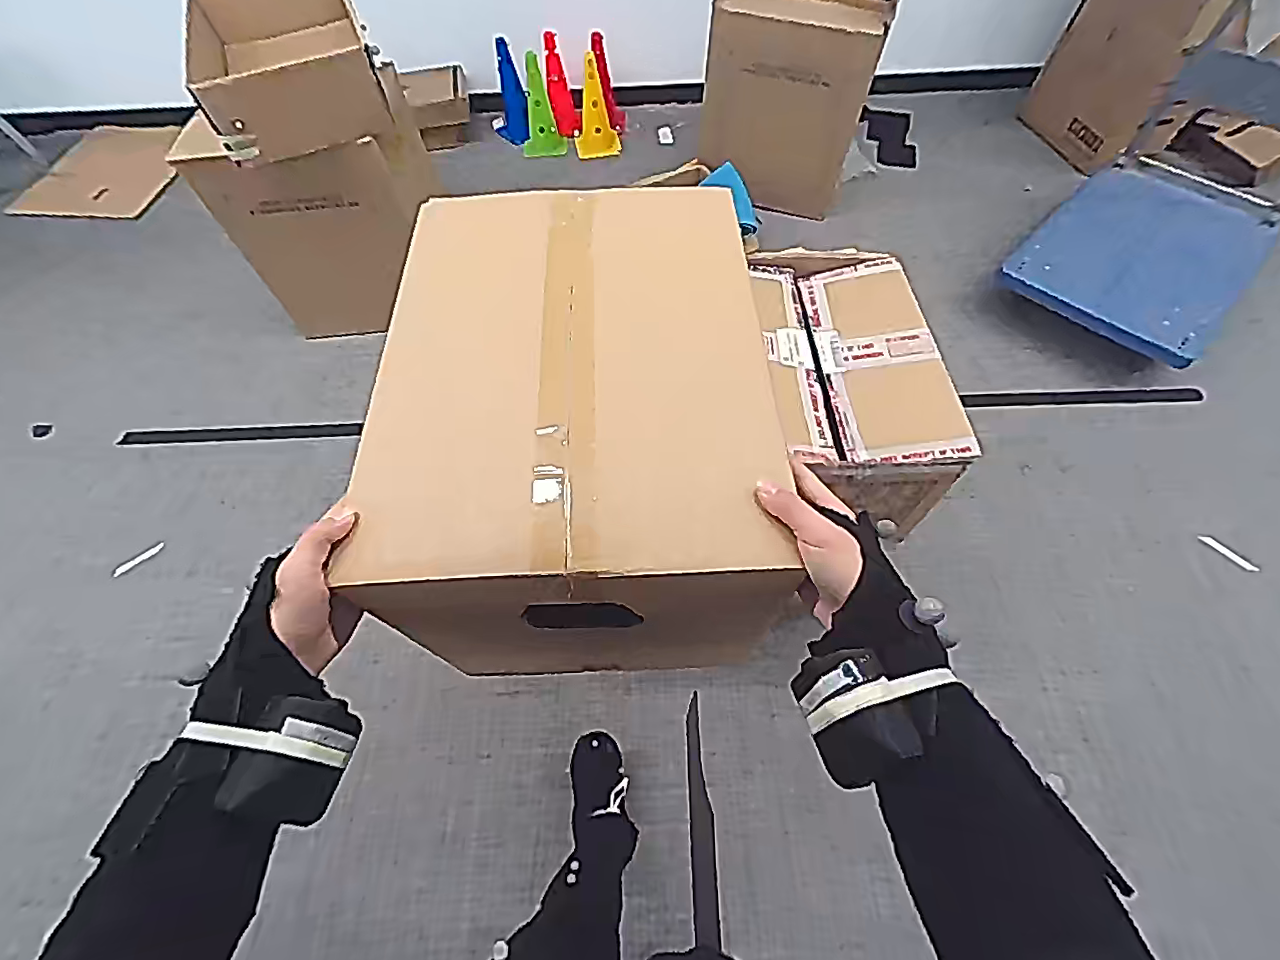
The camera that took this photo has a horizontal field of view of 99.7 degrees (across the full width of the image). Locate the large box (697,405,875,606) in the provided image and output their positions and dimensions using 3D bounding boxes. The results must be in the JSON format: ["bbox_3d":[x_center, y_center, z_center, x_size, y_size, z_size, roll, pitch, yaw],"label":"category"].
[{"bbox_3d":[0.325,0.067,1.337,0.320,0.320,0.408,-3,60,0],"label":"large box"}]
